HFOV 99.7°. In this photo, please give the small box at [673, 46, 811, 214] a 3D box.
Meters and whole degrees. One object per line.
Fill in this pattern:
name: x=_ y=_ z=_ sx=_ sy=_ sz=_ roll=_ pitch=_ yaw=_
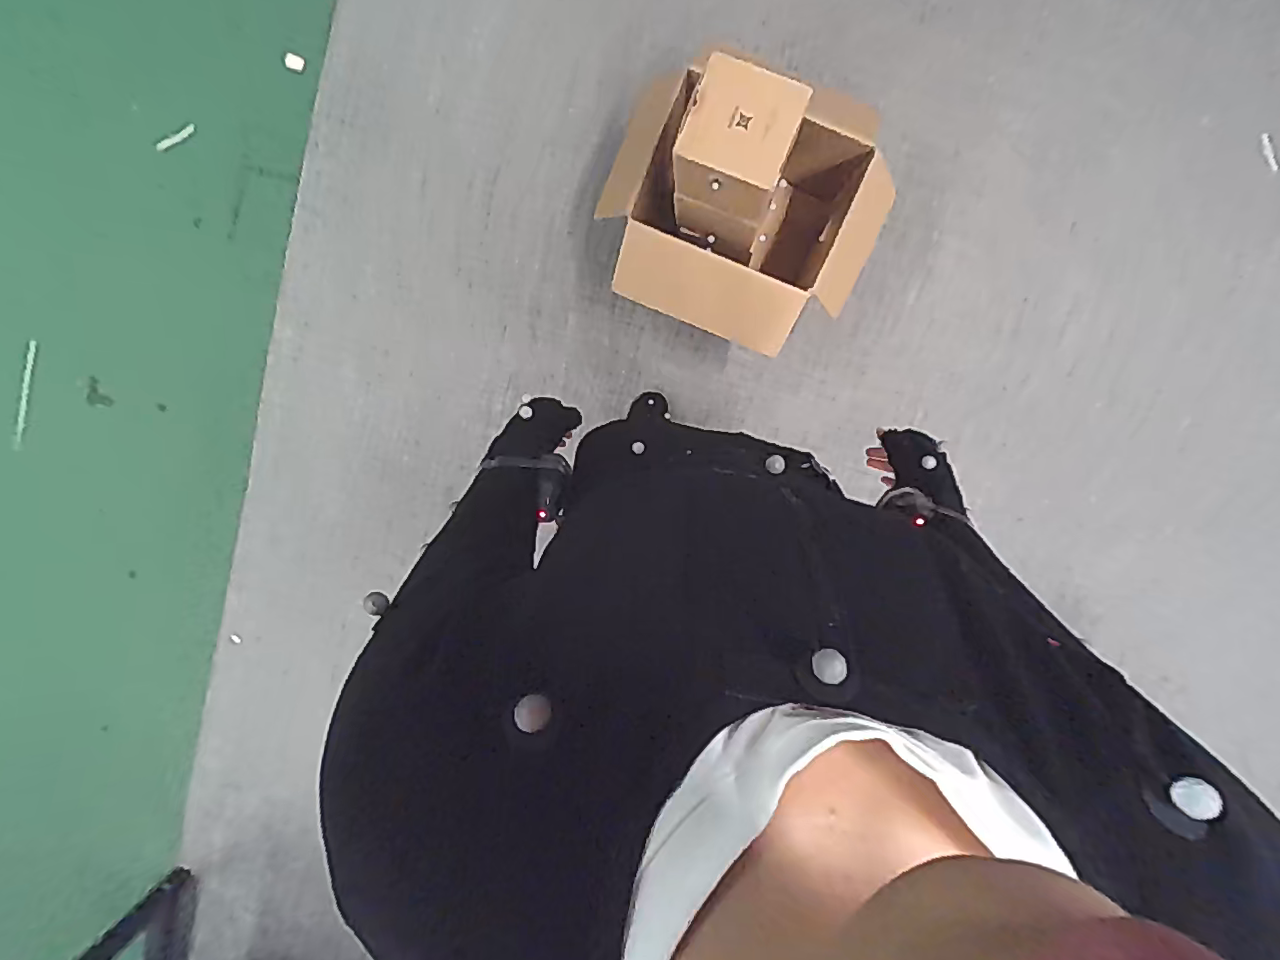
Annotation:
small box: x=0.170 y=-0.597 z=0.948 sx=0.179 sy=0.176 sz=0.168 roll=22 pitch=99 yaw=2
